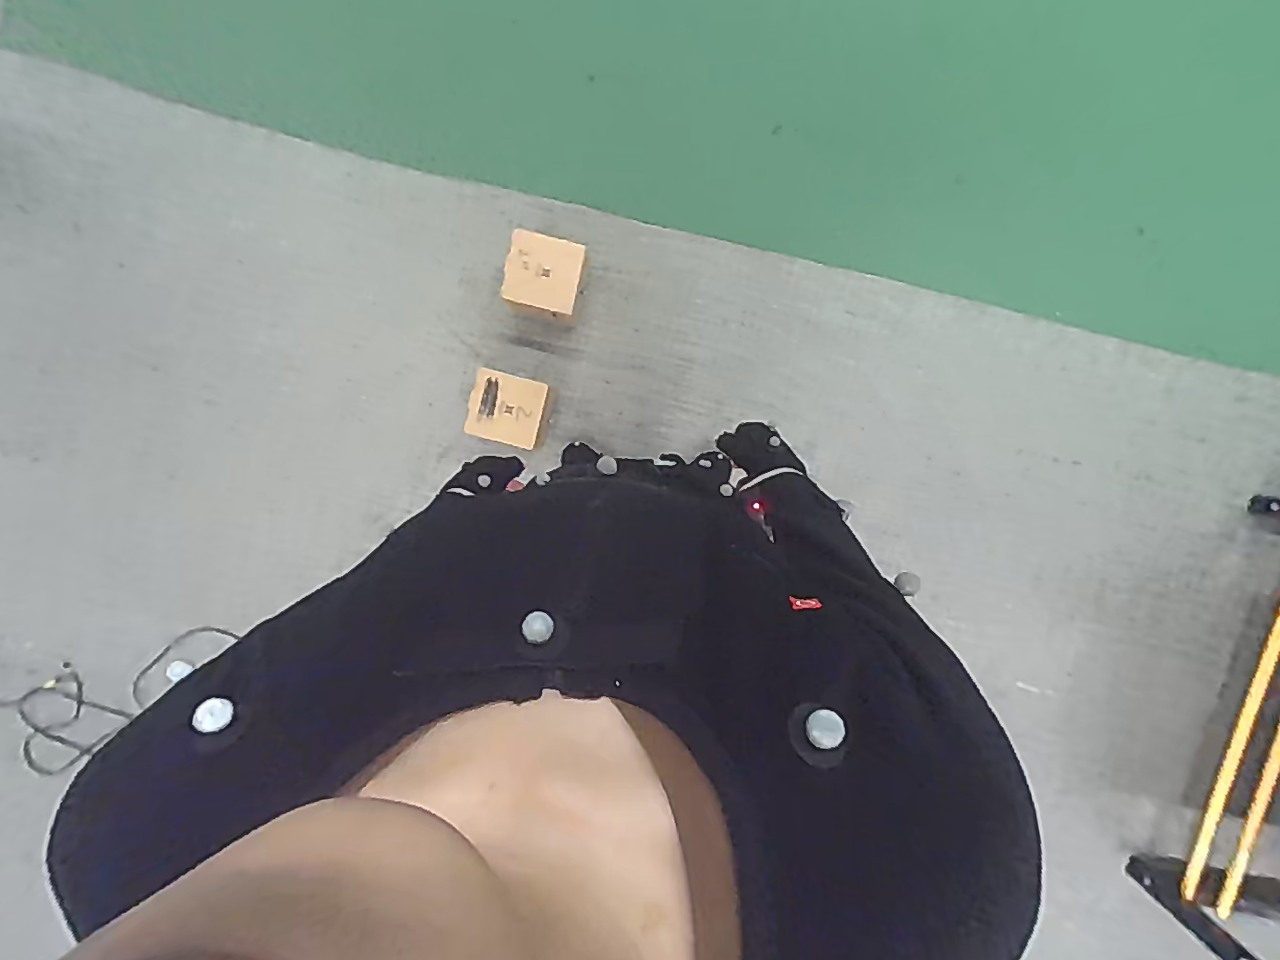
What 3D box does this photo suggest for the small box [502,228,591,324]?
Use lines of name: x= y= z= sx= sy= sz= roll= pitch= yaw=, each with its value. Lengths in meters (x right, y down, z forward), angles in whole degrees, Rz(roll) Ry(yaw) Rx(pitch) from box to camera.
small box: x=-0.223 y=-0.494 z=1.338 sx=0.179 sy=0.176 sz=0.168 roll=13 pitch=95 yaw=-2
